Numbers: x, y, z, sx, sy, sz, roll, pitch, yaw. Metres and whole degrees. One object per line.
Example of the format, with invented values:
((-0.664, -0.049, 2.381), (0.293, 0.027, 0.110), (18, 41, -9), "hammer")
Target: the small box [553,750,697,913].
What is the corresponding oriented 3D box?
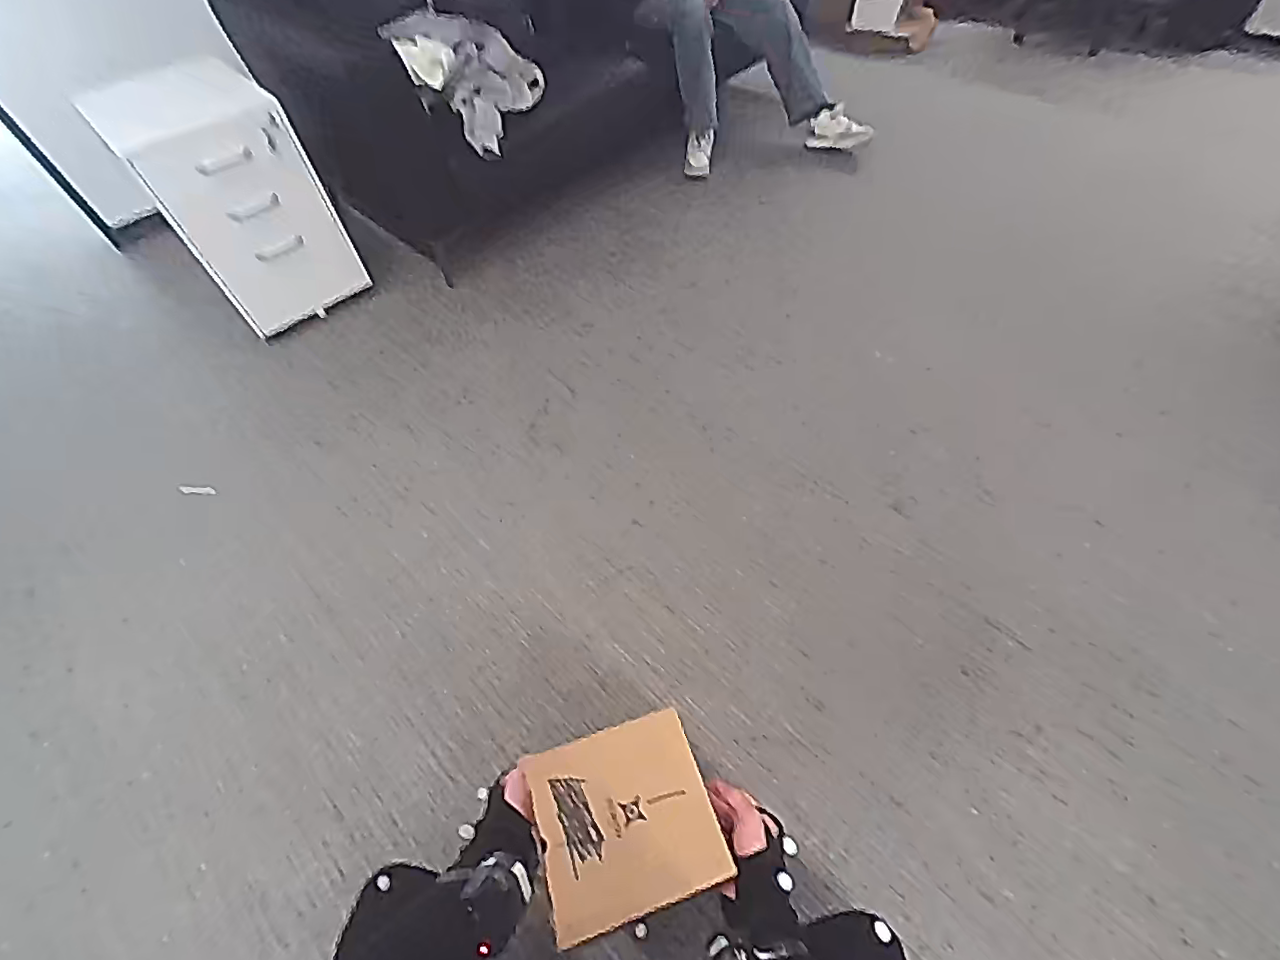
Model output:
((-0.014, 0.576, 0.882), (0.179, 0.176, 0.168), (15, 54, 18), "small box")
